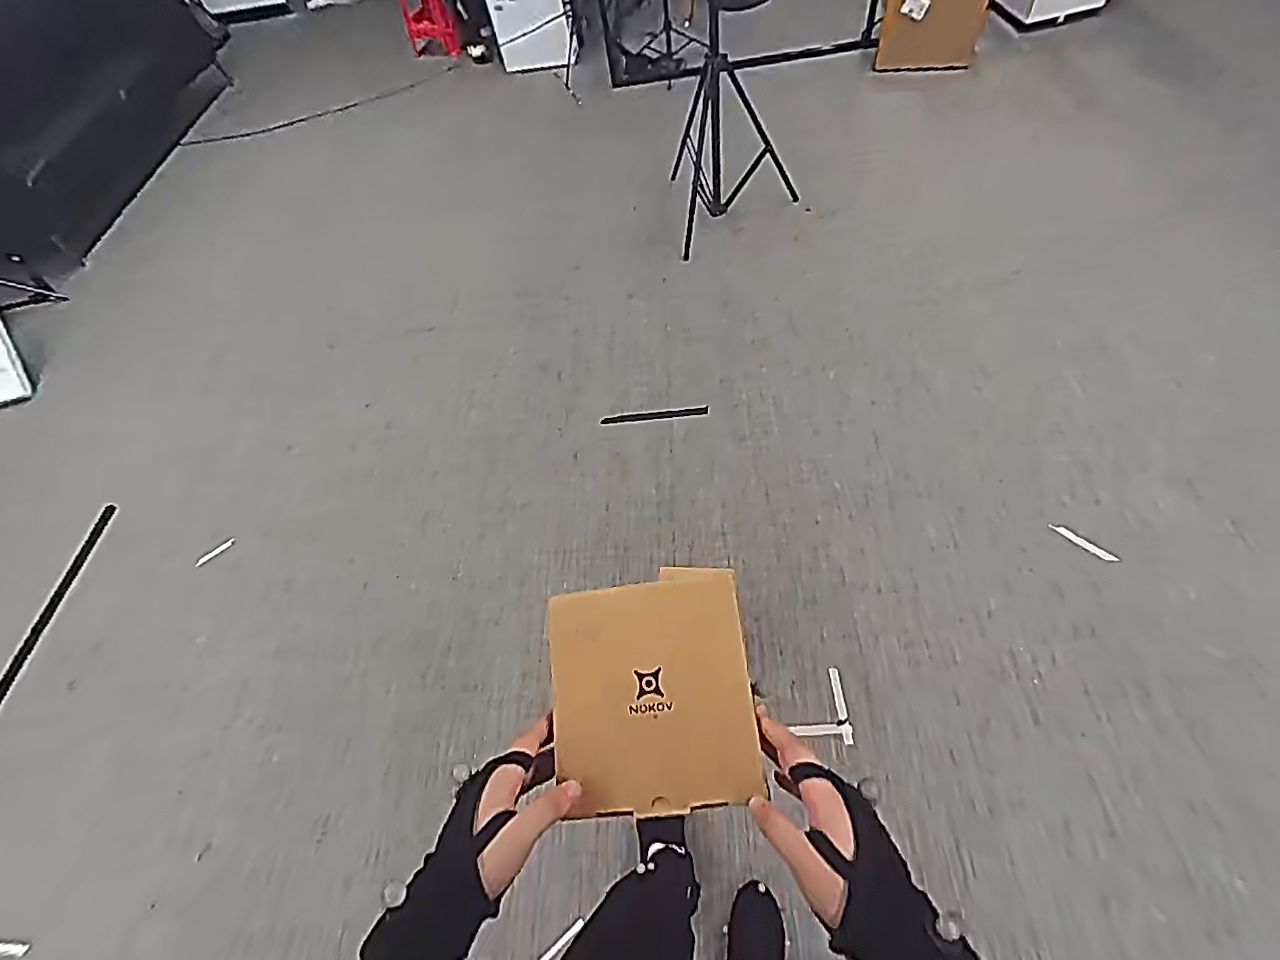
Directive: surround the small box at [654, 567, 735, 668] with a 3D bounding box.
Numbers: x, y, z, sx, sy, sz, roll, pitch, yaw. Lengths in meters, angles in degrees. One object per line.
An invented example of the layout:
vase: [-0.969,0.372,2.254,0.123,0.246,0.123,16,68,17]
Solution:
small box: [0.127,0.309,1.210,0.168,0.176,0.179,-1,59,10]
